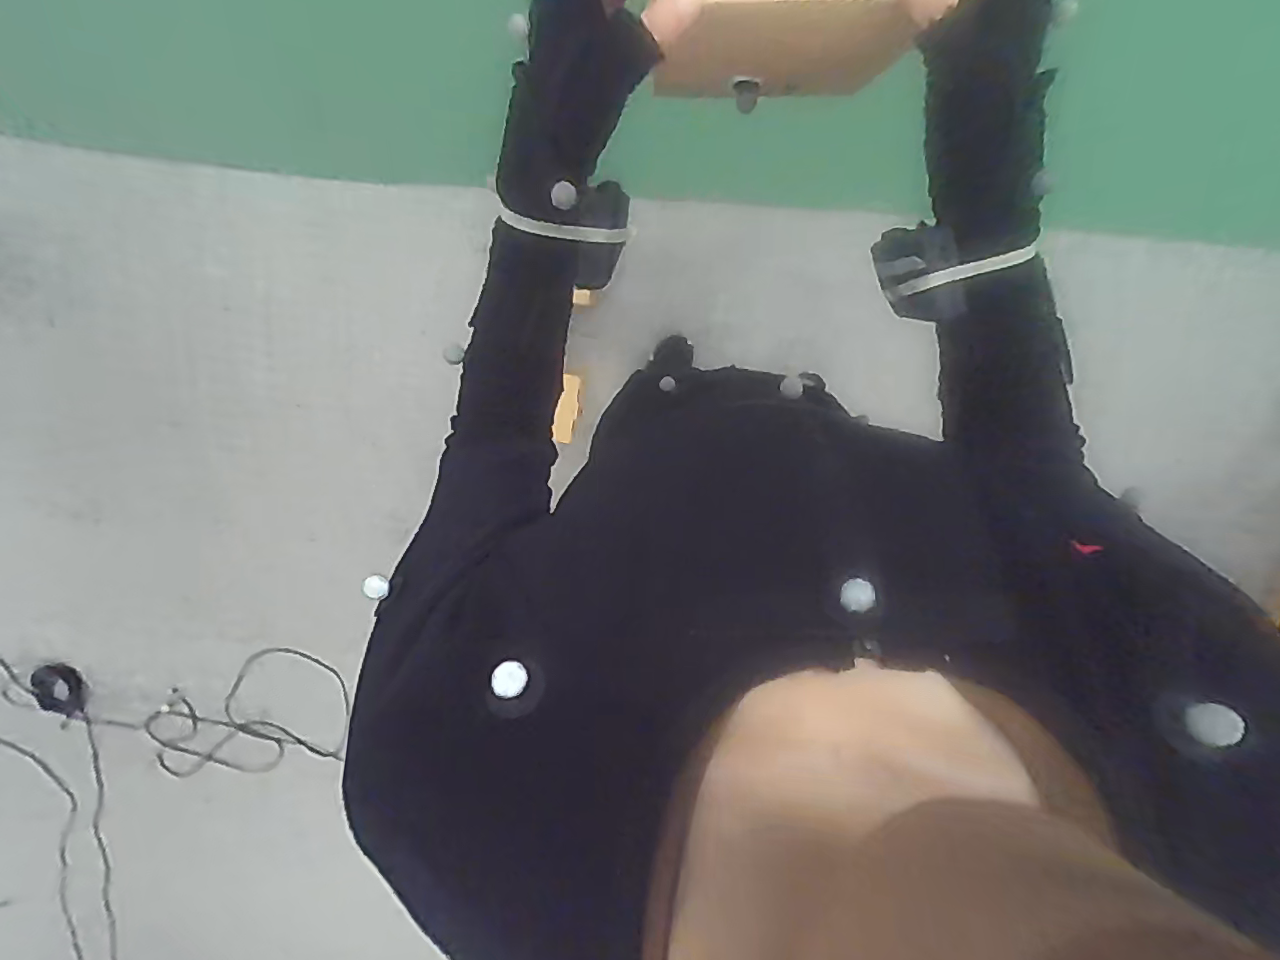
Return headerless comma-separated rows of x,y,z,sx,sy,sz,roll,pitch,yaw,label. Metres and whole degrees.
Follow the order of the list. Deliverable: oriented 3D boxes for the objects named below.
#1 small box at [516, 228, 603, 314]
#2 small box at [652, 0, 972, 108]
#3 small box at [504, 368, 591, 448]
-0.188,-0.494,1.301,0.179,0.176,0.168,6,104,1,small box
0.091,-0.353,0.327,0.168,0.176,0.179,0,111,1,small box
-0.230,-0.187,1.377,0.179,0.176,0.168,10,104,-1,small box
